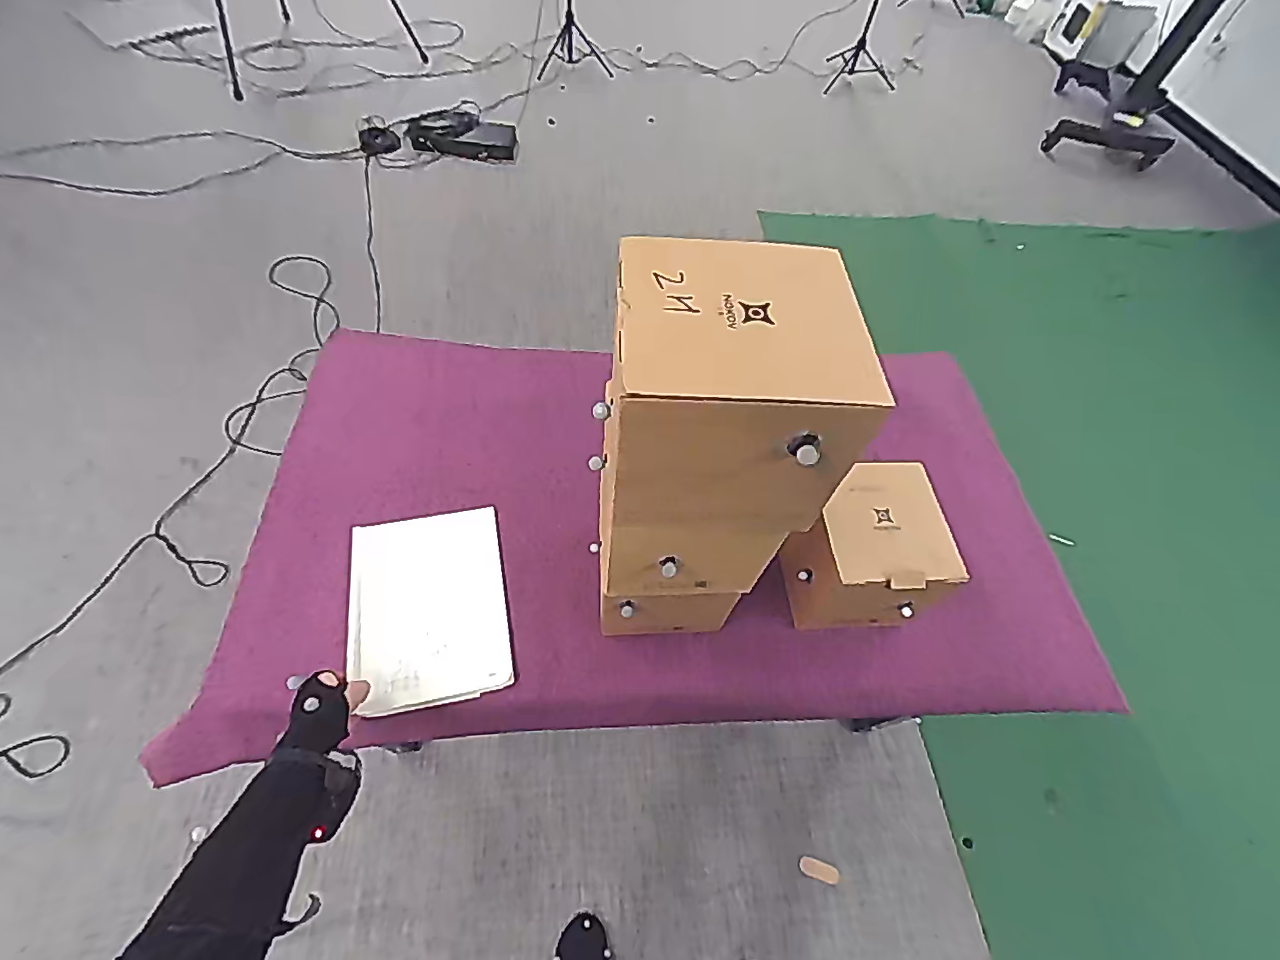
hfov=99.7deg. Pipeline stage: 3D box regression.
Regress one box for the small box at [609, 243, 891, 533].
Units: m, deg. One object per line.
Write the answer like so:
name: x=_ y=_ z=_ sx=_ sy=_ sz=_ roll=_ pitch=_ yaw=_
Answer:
small box: x=0.067 y=-0.066 z=0.446 sx=0.179 sy=0.176 sz=0.168 roll=2 pitch=56 yaw=-4

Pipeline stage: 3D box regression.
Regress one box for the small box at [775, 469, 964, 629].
small box: x=0.300 y=0.102 z=0.754 sx=0.168 sy=0.176 sz=0.179 roll=1 pitch=56 yaw=-6

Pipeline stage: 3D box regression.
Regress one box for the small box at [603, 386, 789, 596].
small box: x=0.045 y=0.019 z=0.586 sx=0.168 sy=0.176 sz=0.179 roll=0 pitch=56 yaw=-5
